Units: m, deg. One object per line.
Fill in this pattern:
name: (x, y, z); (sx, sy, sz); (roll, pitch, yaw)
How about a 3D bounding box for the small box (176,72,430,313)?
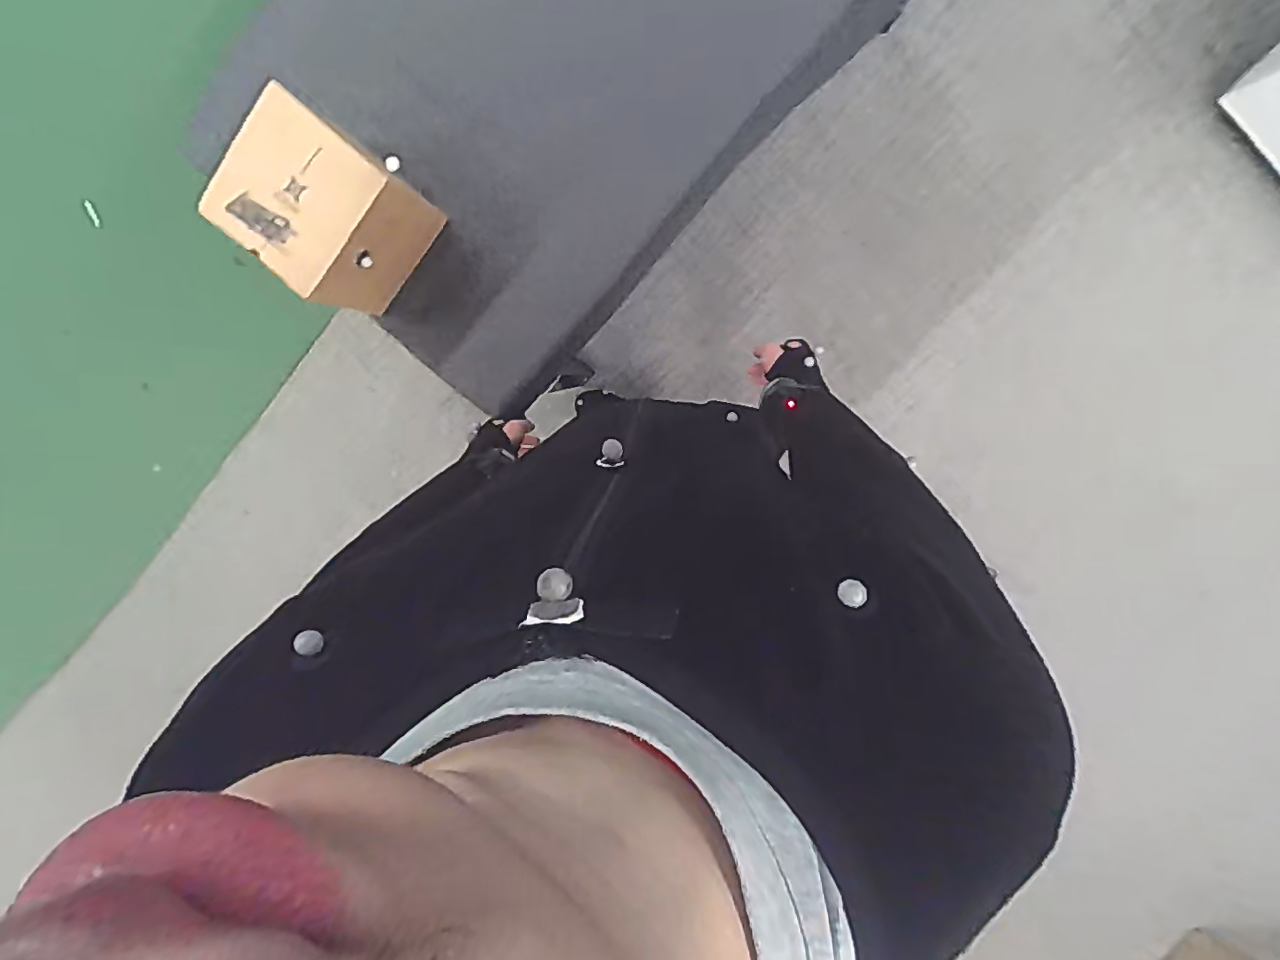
small box: (-0.393, -0.329, 0.666); (0.168, 0.176, 0.179); (39, 99, -6)
